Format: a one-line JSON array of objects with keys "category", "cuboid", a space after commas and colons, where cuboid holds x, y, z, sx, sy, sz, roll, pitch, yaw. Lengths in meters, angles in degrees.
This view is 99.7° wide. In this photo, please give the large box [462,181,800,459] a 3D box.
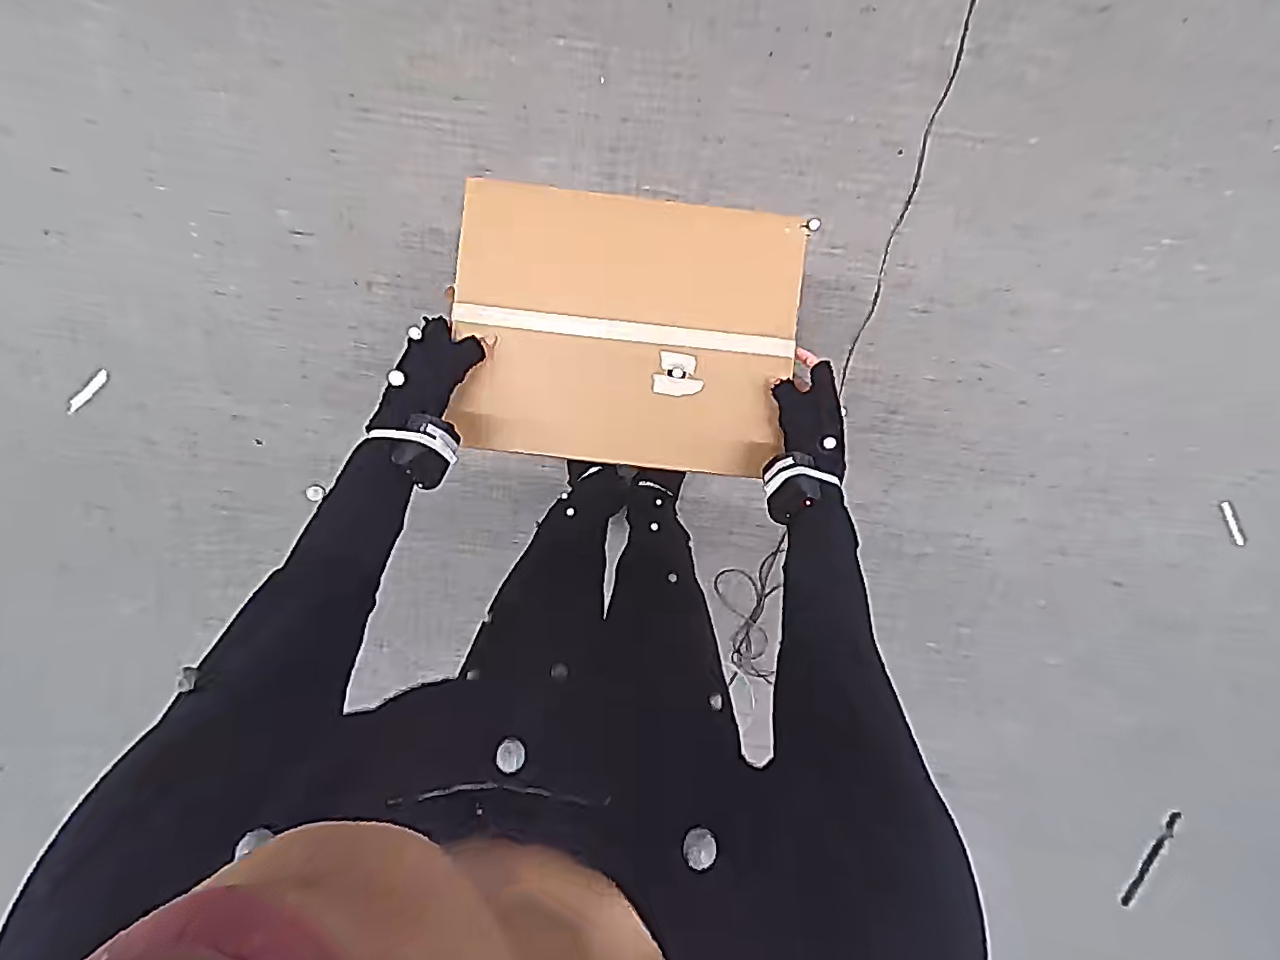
[{"category": "large box", "cuboid": [-0.019, -0.201, 0.814, 0.408, 0.320, 0.320, 6, 94, -2]}]
